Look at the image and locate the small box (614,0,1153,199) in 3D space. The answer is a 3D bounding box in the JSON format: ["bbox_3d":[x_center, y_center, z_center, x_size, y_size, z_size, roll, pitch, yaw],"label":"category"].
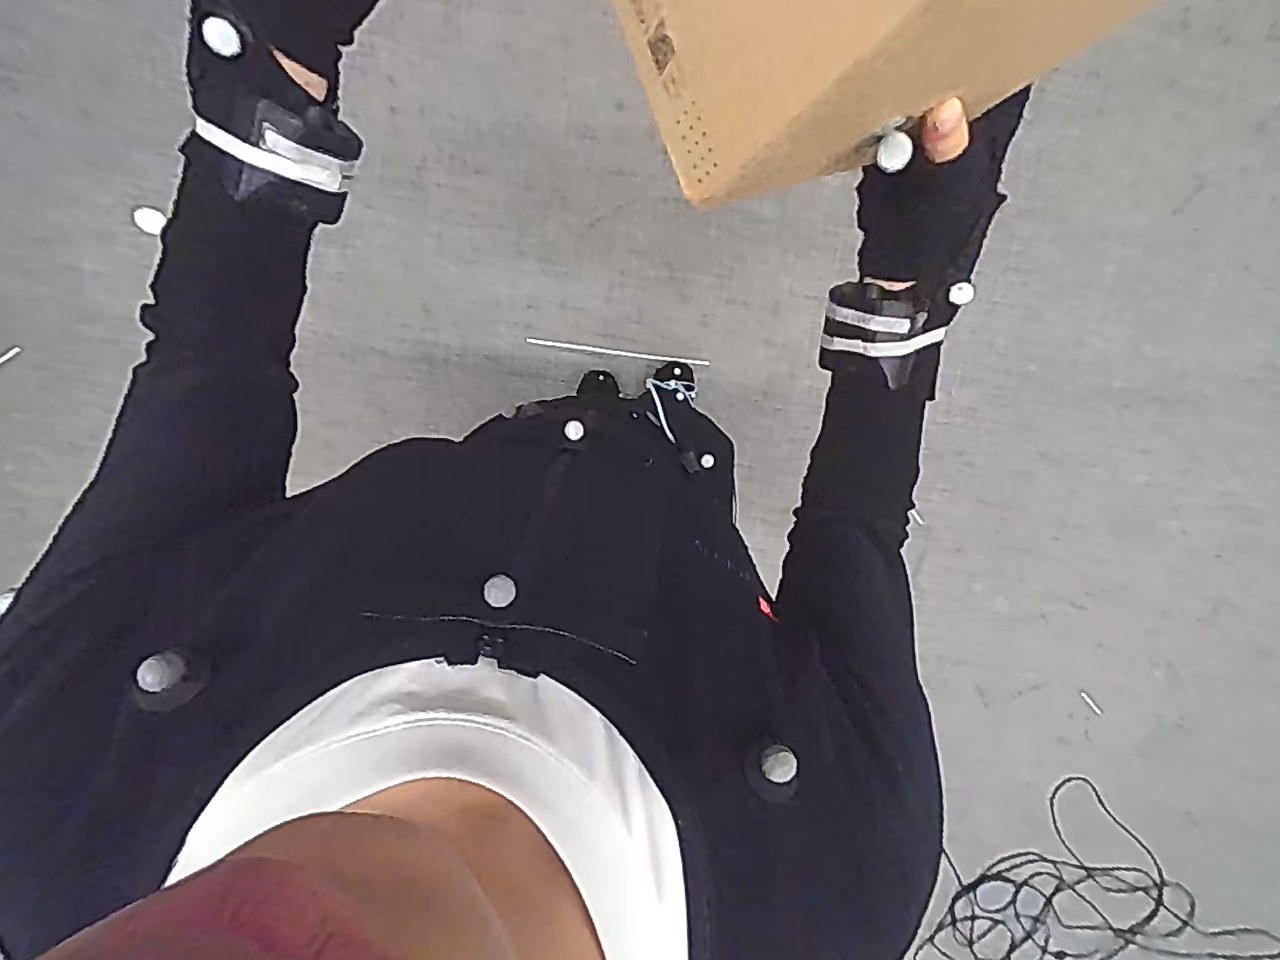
[{"bbox_3d":[0.097,-0.232,0.193,0.179,0.176,0.168,-26,100,-22],"label":"small box"}]
